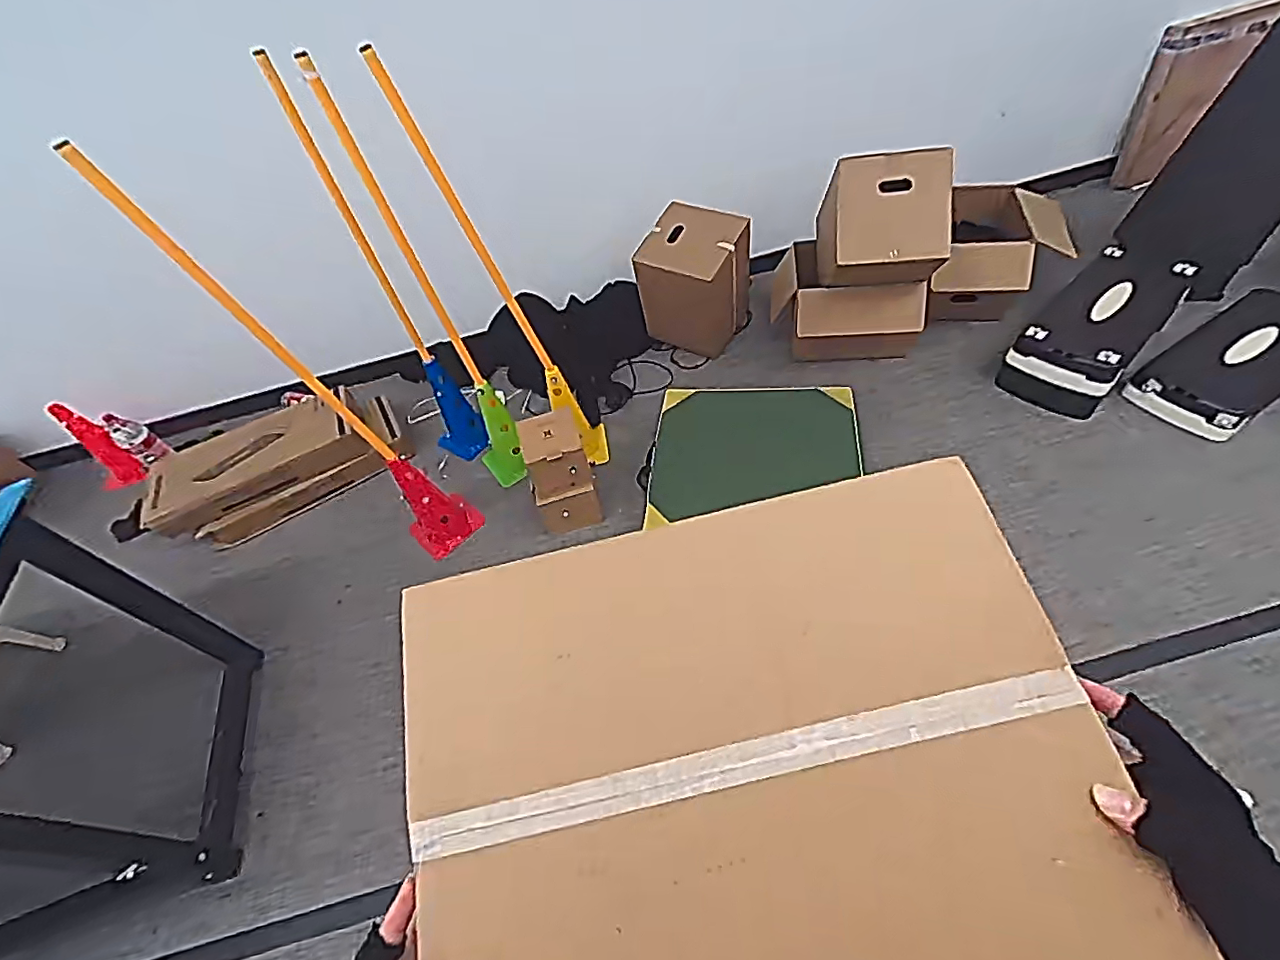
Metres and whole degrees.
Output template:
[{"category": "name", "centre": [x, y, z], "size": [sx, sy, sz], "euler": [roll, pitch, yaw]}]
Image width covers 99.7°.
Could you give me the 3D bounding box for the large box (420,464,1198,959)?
[{"category": "large box", "centre": [0.078, 0.230, 0.469], "size": [0.408, 0.320, 0.320], "euler": [-14, 67, 1]}]
